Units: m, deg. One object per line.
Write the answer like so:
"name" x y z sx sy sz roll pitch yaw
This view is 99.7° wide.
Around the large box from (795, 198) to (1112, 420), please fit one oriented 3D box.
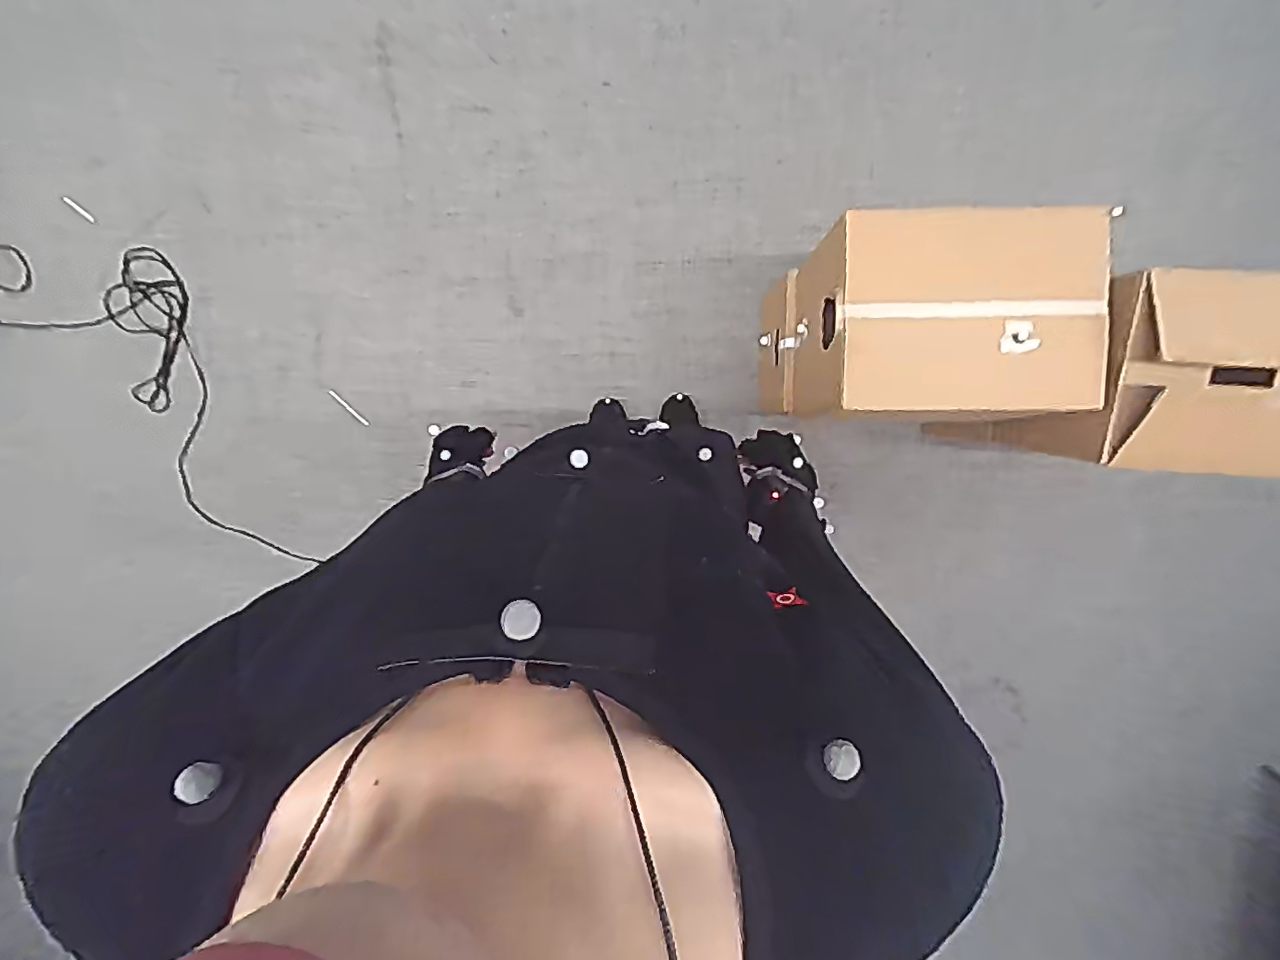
"large box" 0.519 -0.278 0.978 0.408 0.320 0.320 0 93 2
